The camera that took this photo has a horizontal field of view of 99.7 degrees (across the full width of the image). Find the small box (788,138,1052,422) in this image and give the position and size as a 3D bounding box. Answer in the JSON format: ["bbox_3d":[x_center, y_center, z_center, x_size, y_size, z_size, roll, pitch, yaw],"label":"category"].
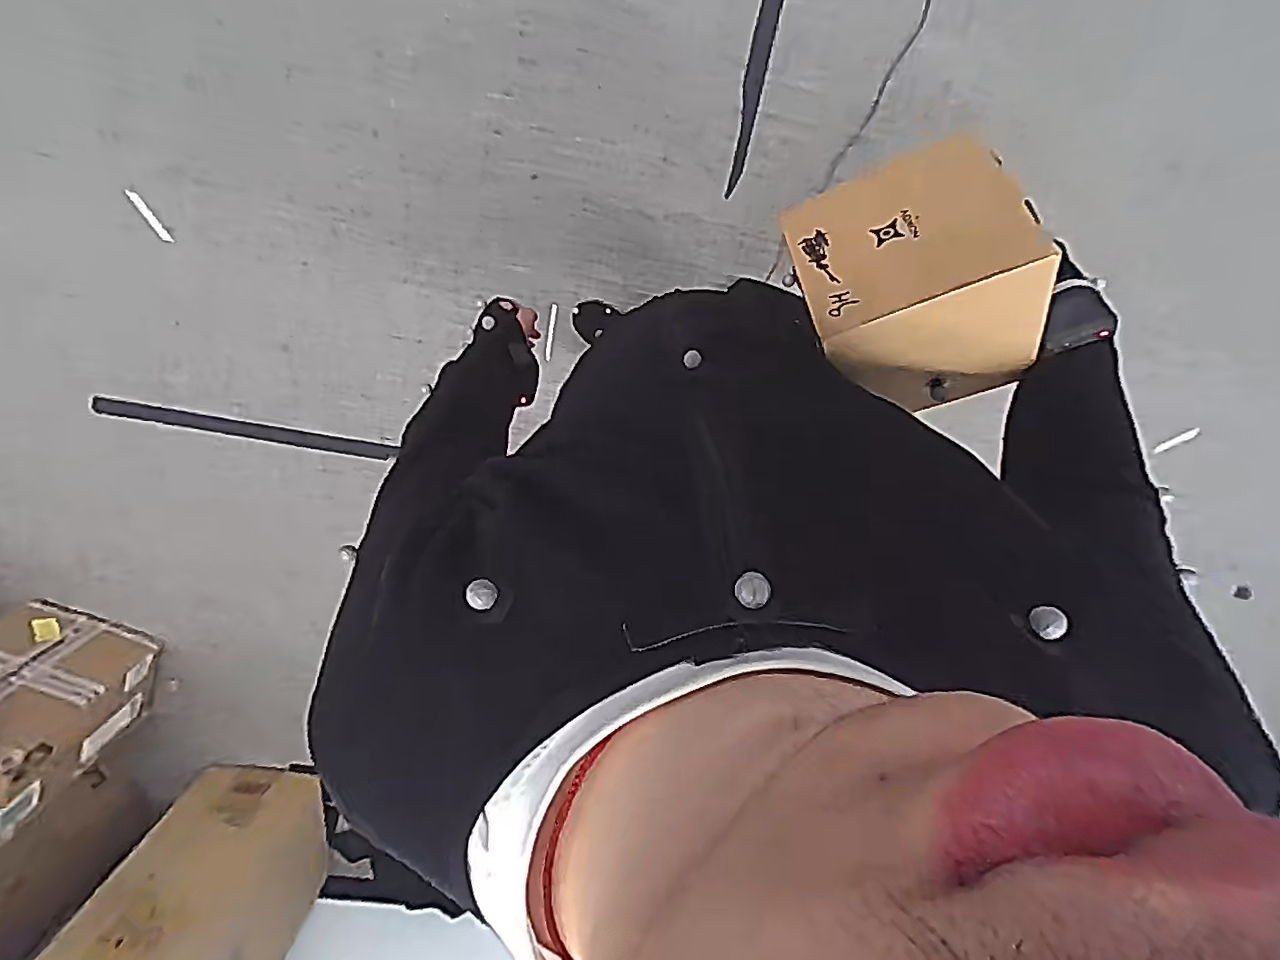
[{"bbox_3d":[0.264,-0.184,0.542,0.179,0.168,0.176,-16,149,20],"label":"small box"}]
